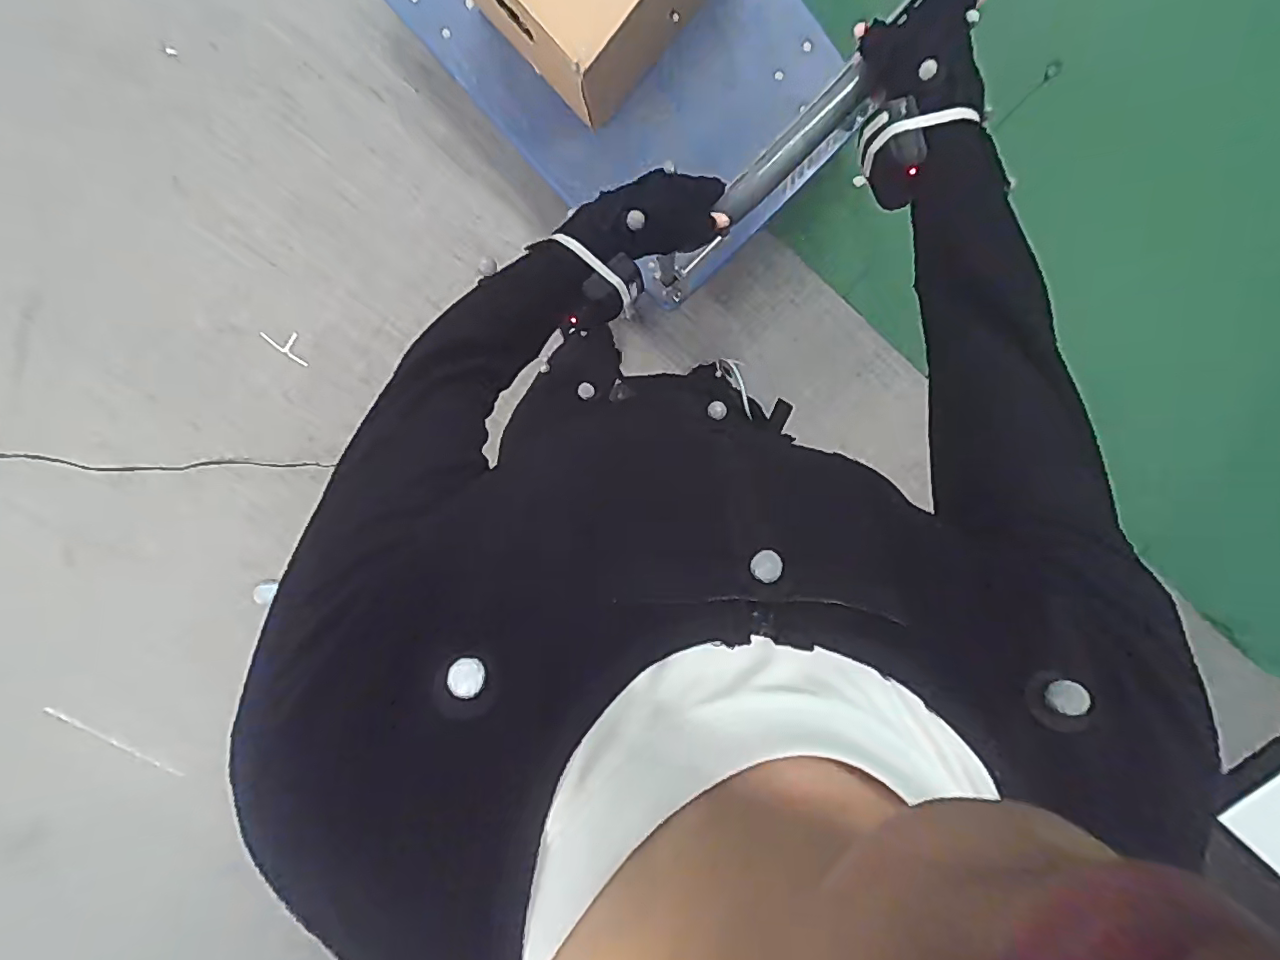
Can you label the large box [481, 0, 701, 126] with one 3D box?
[{"bbox_3d":[-0.055,-0.900,0.880,0.320,0.320,0.408,42,104,-12],"label":"large box"}]
